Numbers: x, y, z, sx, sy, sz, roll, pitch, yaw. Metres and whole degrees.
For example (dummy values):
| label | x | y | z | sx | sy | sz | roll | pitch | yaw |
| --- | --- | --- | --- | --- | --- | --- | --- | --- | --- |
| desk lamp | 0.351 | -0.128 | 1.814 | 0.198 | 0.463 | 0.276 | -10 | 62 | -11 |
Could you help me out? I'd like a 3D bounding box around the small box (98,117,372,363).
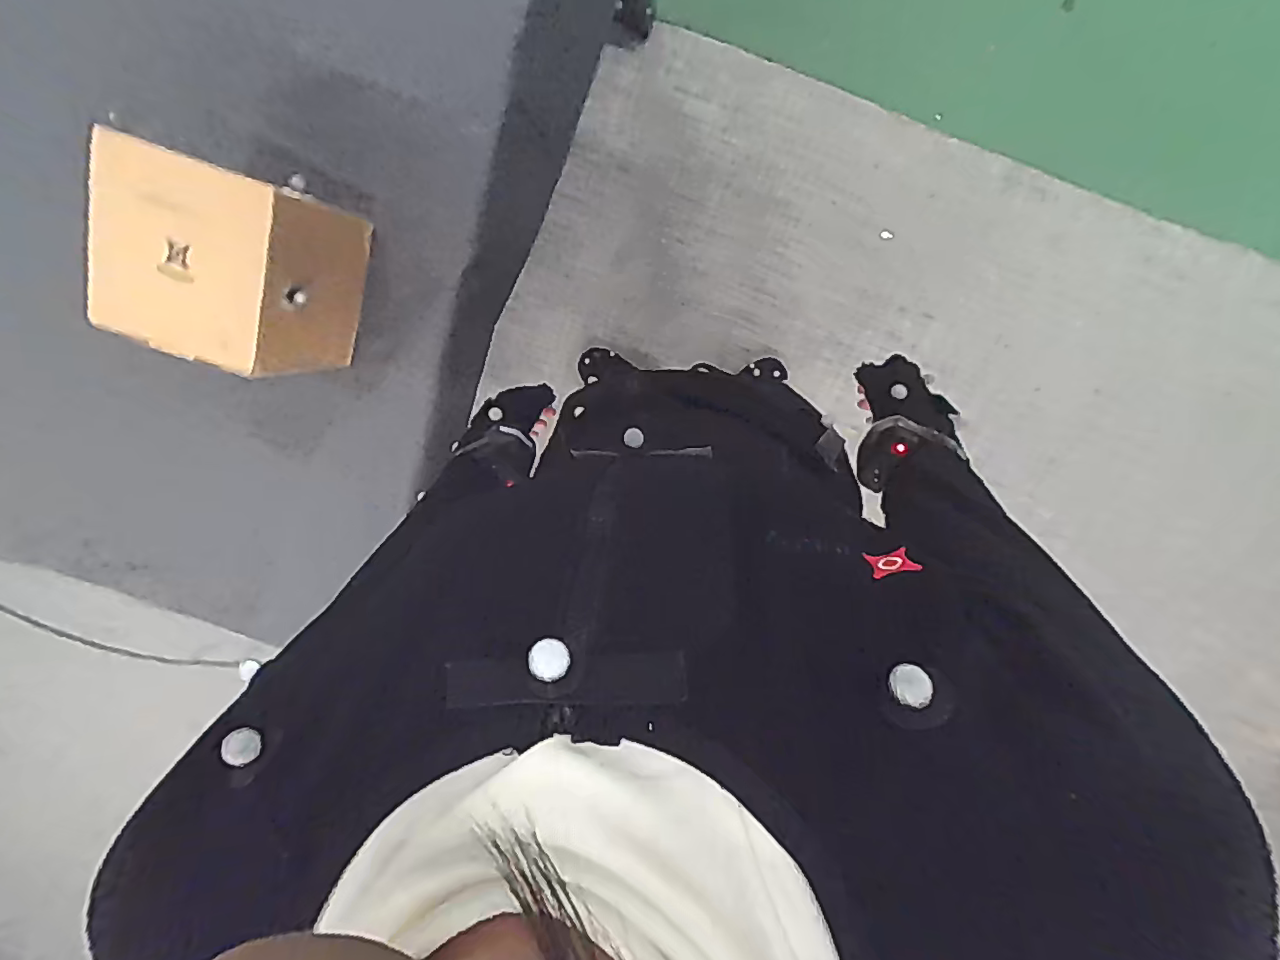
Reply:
| label | x | y | z | sx | sy | sz | roll | pitch | yaw |
| --- | --- | --- | --- | --- | --- | --- | --- | --- | --- |
| small box | -0.415 | -0.239 | 0.579 | 0.168 | 0.176 | 0.179 | 18 | 106 | -2 |
